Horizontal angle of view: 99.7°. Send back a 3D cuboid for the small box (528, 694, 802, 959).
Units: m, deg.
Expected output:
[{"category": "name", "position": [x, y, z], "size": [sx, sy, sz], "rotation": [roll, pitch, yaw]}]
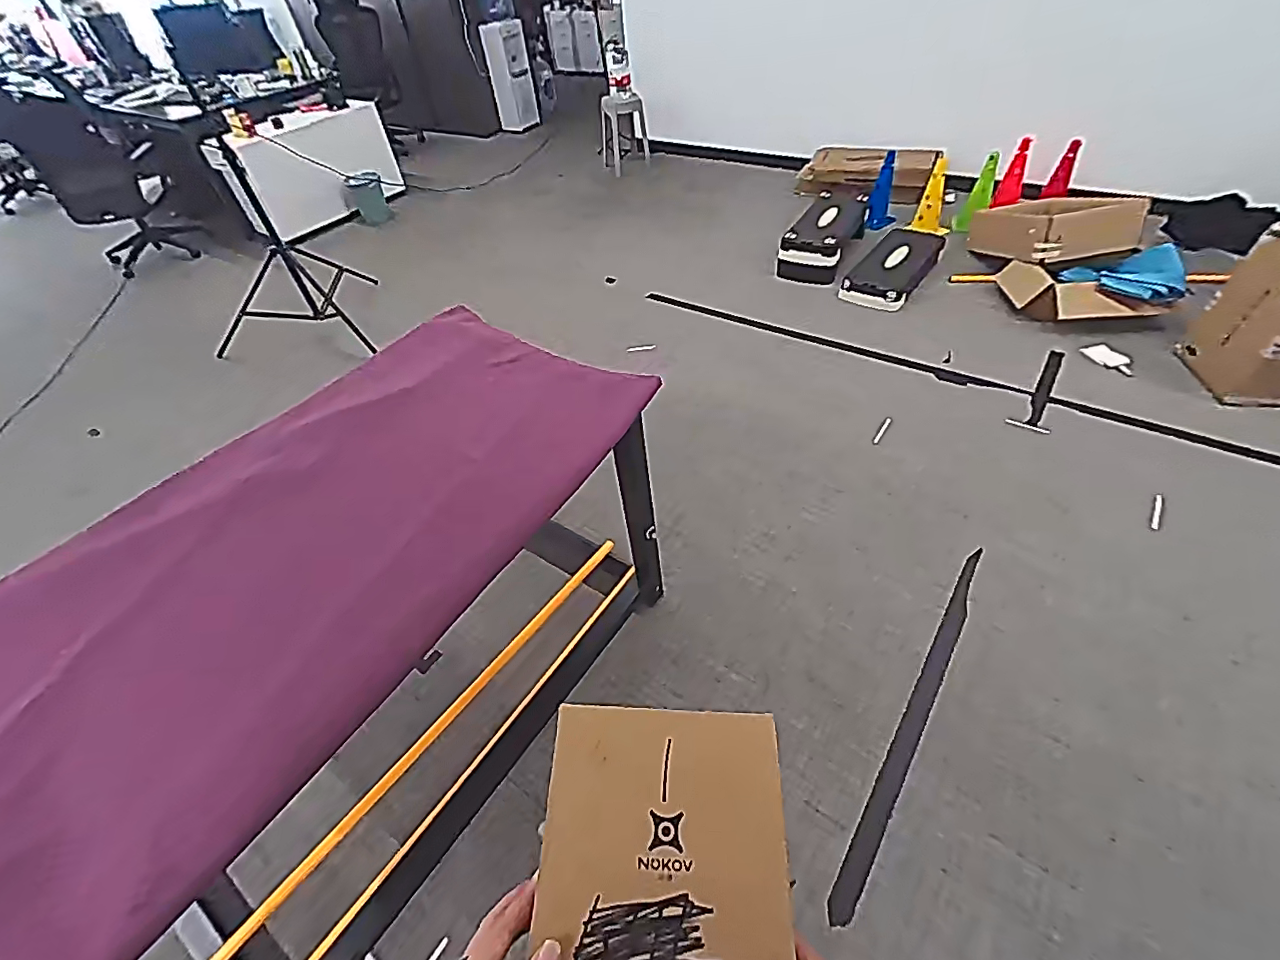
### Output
[{"category": "small box", "position": [0.020, 0.281, 0.420], "size": [0.168, 0.176, 0.179], "rotation": [2, 54, 2]}]
